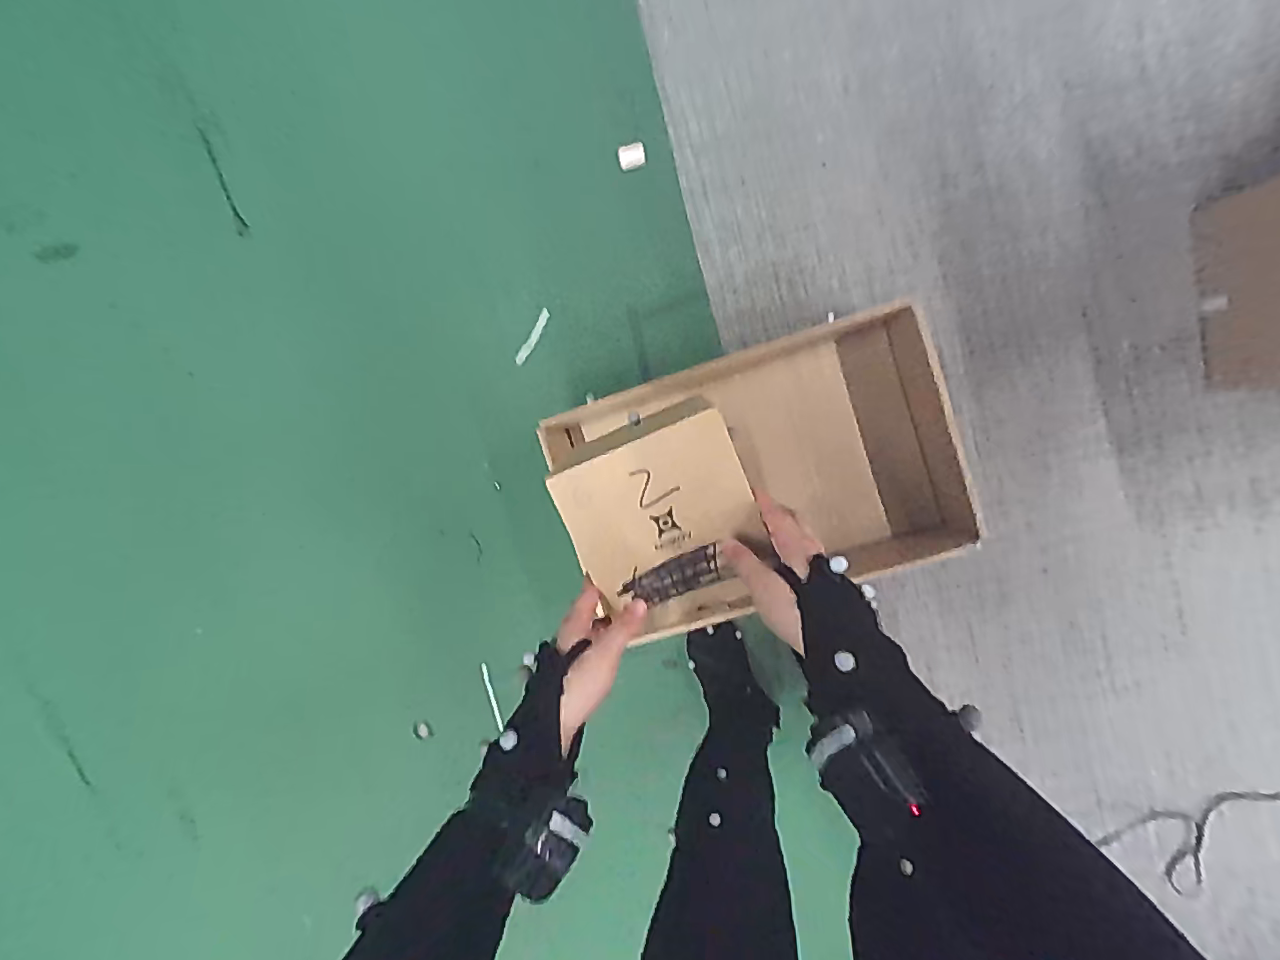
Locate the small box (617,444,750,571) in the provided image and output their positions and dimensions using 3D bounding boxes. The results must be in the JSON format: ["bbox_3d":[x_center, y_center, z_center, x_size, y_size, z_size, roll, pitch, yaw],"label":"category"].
[{"bbox_3d":[0.078,0.041,0.925,0.179,0.176,0.168,-17,92,8],"label":"small box"}]

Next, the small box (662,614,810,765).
[{"bbox_3d":[0.177,0.372,0.974,0.176,0.168,0.179,36,73,-24],"label":"small box"}]
